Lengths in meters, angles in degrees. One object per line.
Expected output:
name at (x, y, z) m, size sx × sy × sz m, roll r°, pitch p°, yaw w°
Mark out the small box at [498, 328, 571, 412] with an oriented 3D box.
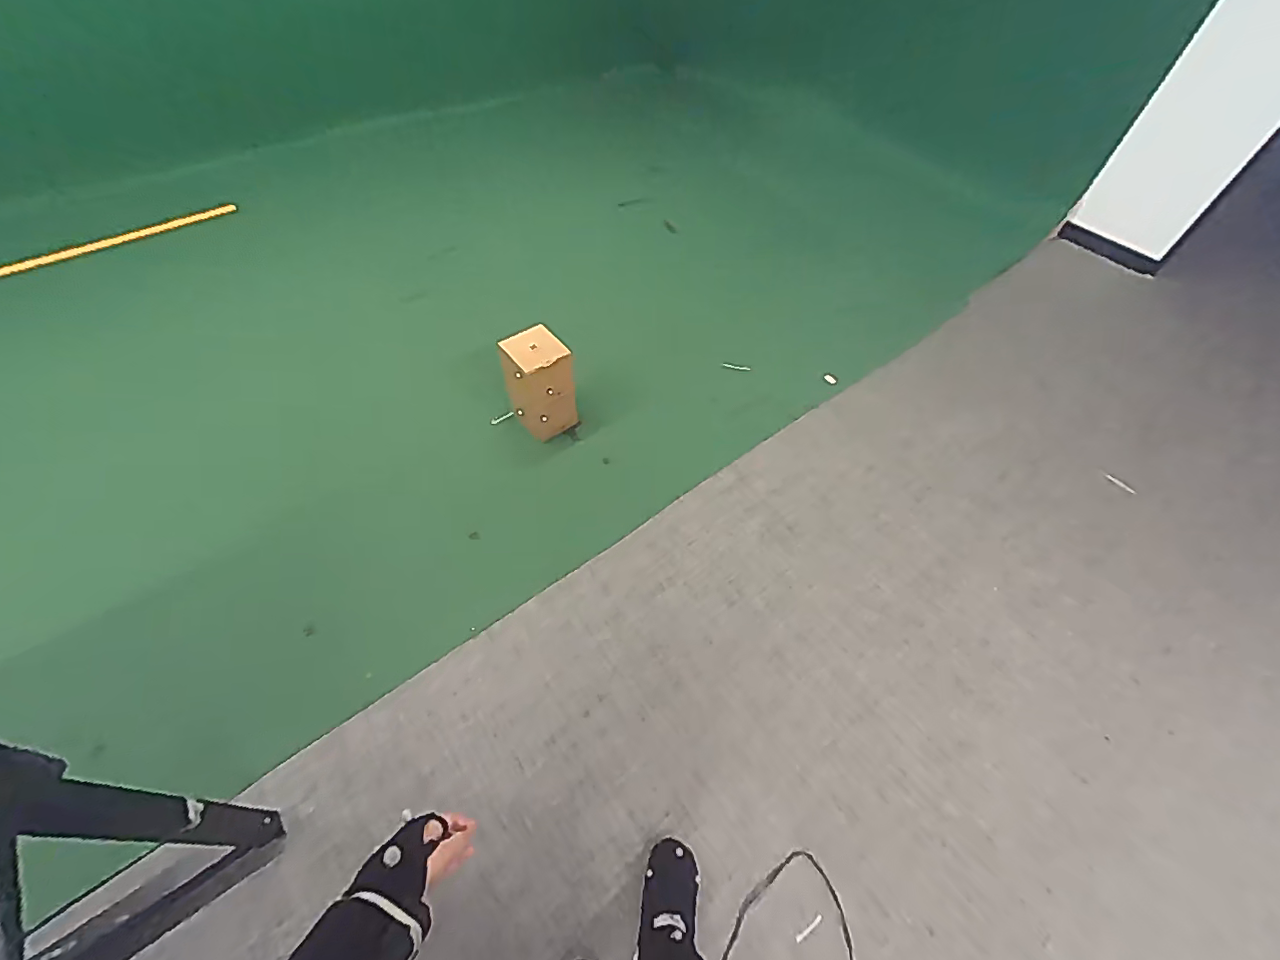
small box at (-0.339, -0.354, 1.753) m, size 0.168 × 0.176 × 0.179 m, roll -31°, pitch 61°, yaw -24°
